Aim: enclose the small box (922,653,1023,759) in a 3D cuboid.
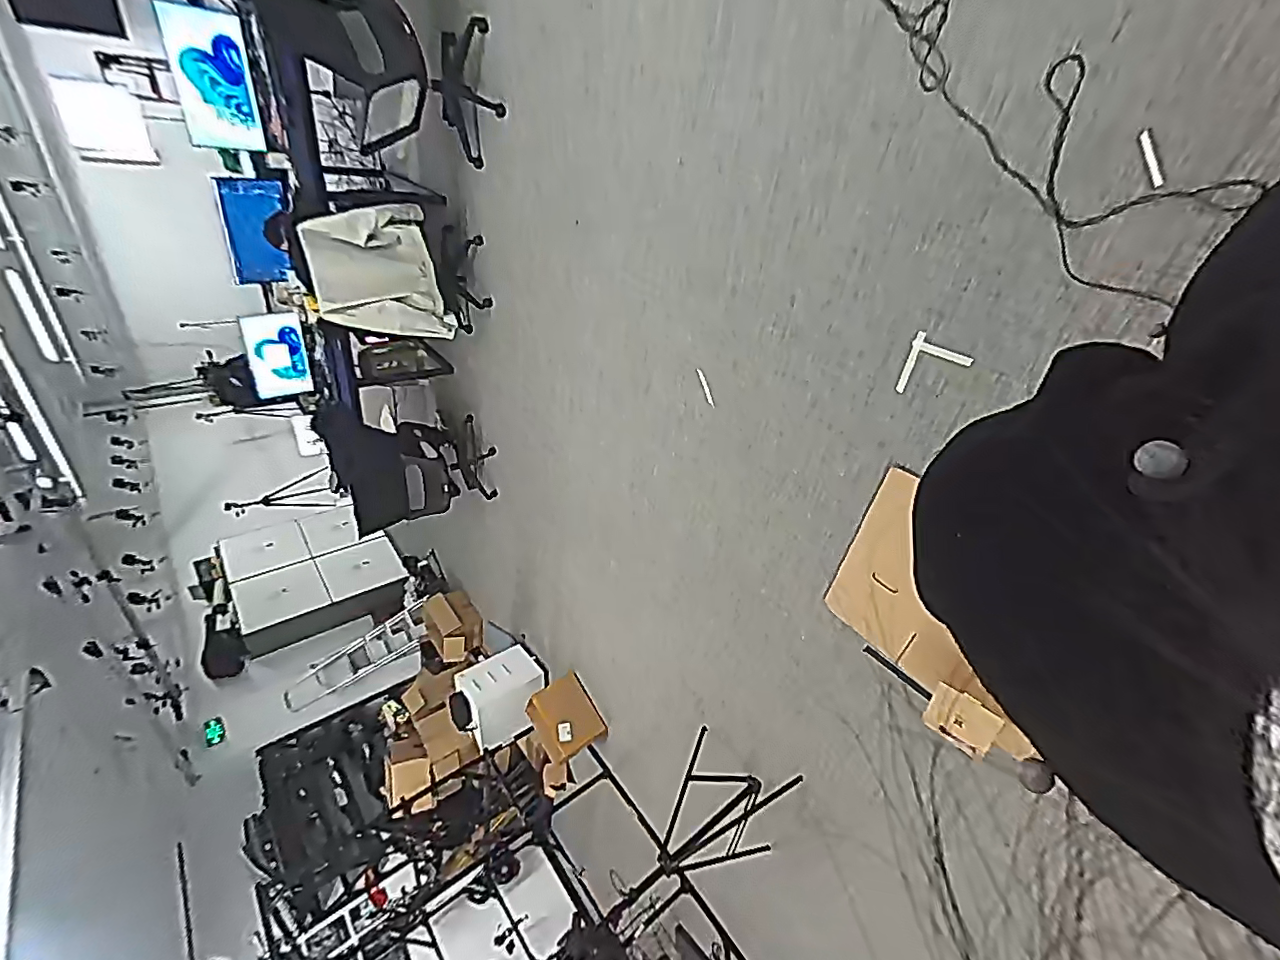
[{"bbox_3d":[0.924,0.618,1.499,0.168,0.176,0.179,33,129,41],"label":"small box"}]
